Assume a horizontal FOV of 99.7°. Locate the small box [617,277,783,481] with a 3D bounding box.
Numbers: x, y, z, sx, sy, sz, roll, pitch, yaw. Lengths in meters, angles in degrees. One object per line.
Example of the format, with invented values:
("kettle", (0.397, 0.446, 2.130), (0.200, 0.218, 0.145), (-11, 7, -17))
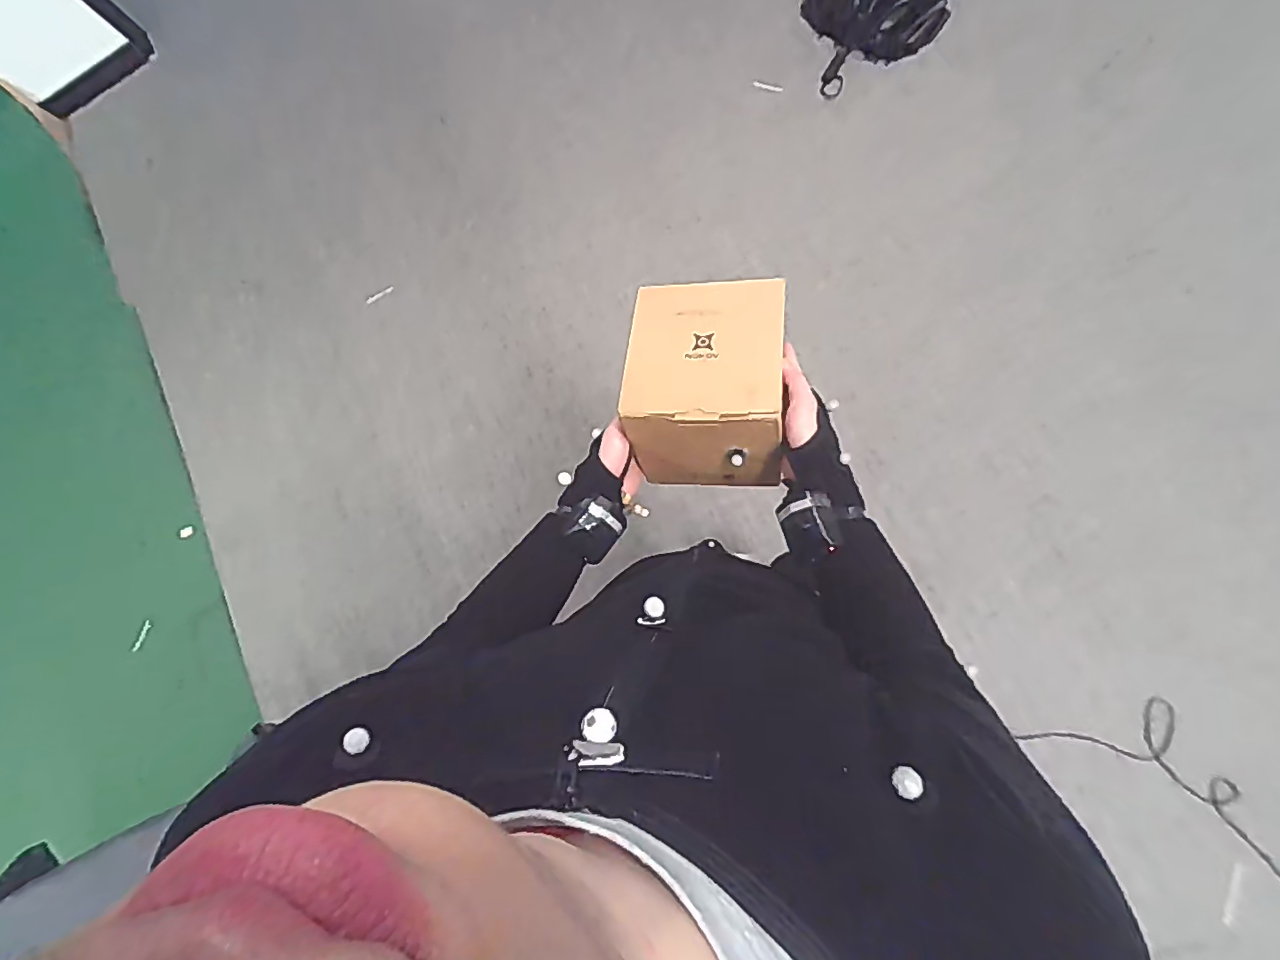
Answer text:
("small box", (0.081, -0.109, 0.638), (0.168, 0.176, 0.179), (2, 64, 13))
